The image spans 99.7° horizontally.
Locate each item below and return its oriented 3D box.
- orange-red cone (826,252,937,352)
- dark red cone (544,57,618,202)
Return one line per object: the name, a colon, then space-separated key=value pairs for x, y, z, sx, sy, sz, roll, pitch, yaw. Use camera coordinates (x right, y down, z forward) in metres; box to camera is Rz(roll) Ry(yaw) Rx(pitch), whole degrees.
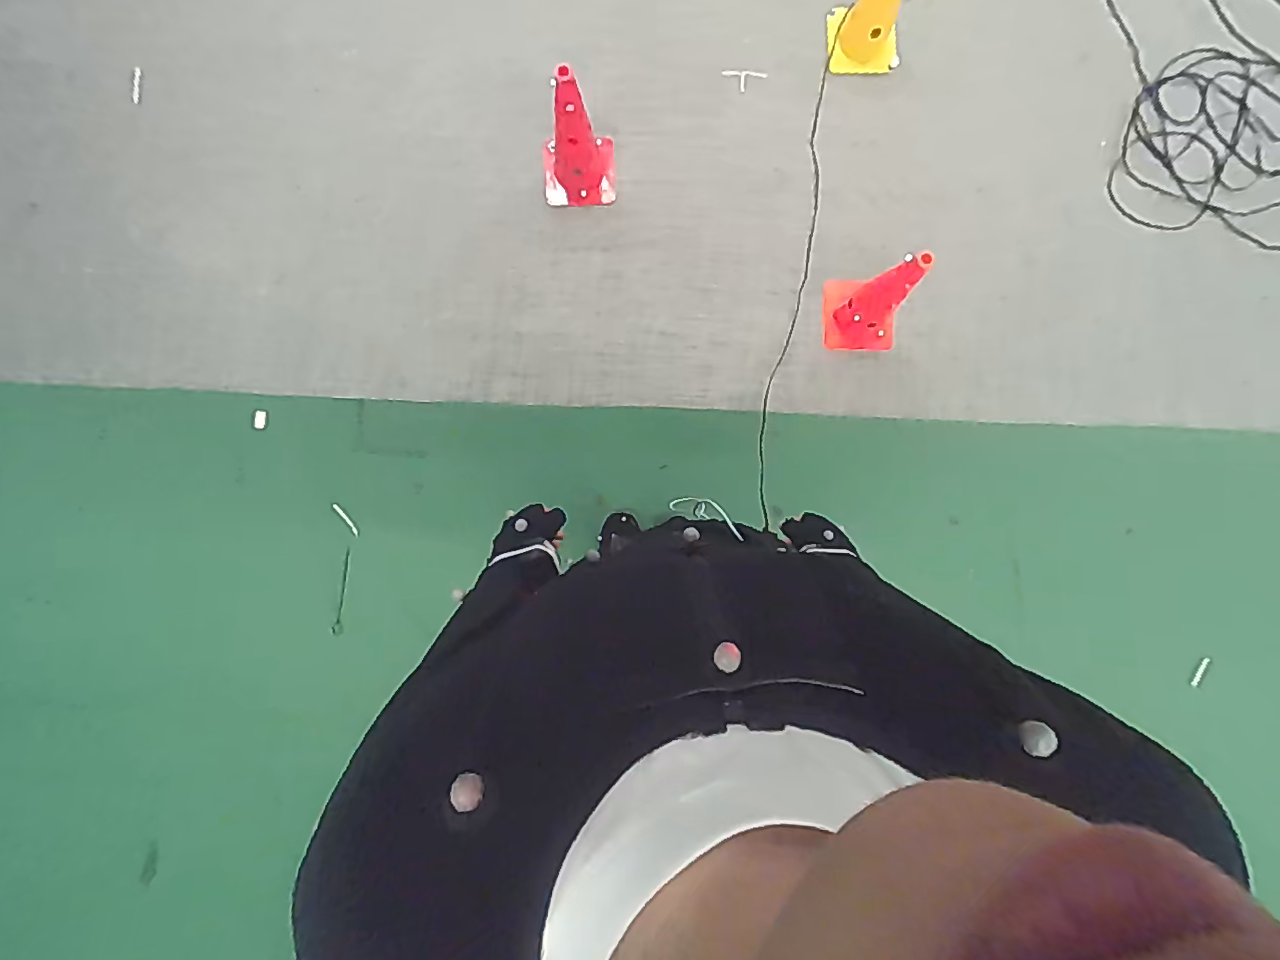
orange-red cone: x=0.628 y=-0.475 z=1.359 sx=0.198 sy=0.360 sz=0.199 roll=2 pitch=86 yaw=-1
dark red cone: x=-0.165 y=-0.887 z=1.354 sx=0.202 sy=0.394 sz=0.201 roll=-4 pitch=88 yaw=-1
